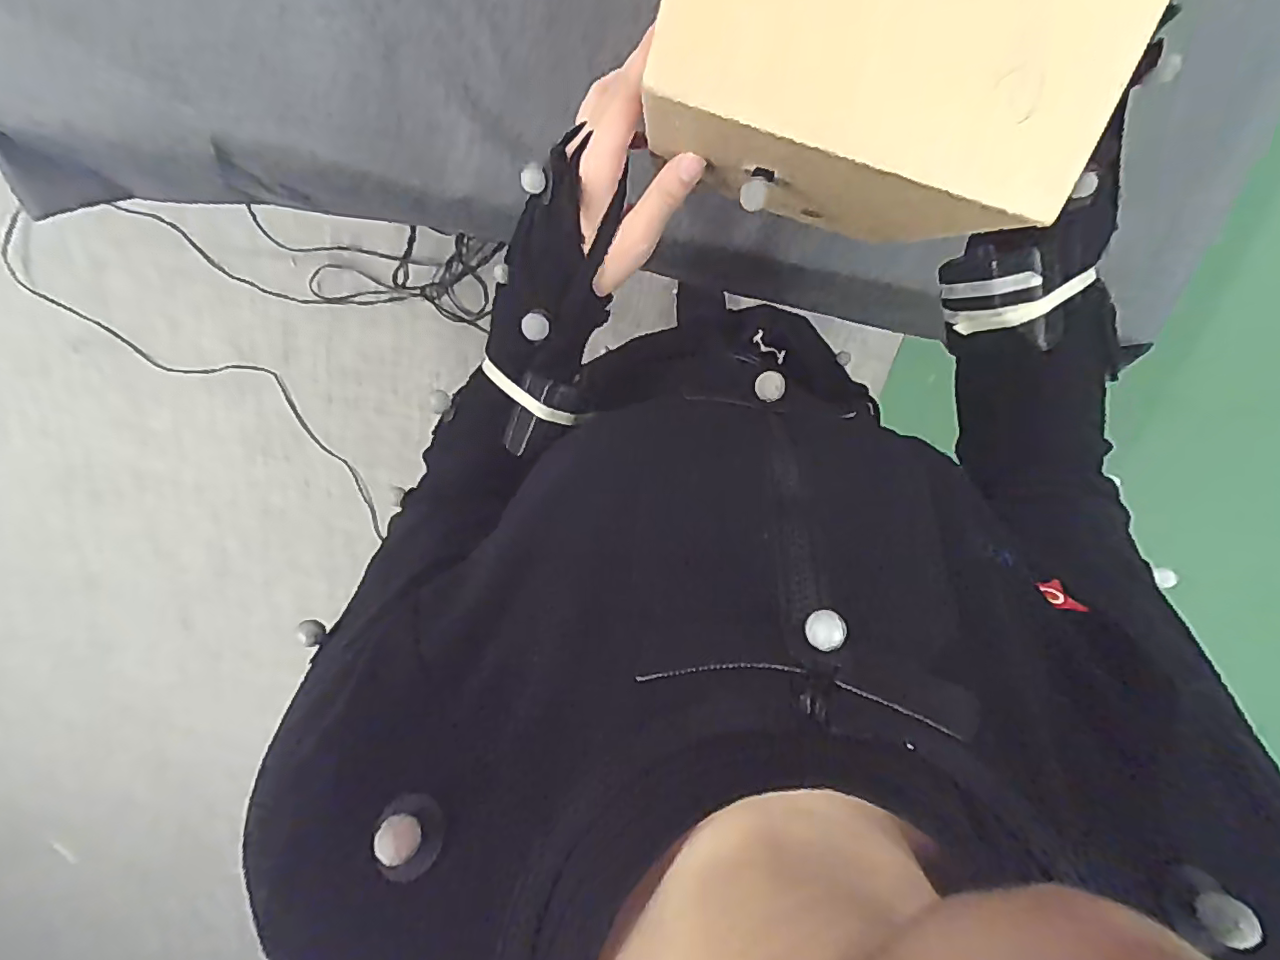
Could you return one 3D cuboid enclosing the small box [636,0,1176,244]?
[{"bbox_3d":[0.106,-0.220,0.242,0.168,0.176,0.179,17,109,-2],"label":"small box"}]
